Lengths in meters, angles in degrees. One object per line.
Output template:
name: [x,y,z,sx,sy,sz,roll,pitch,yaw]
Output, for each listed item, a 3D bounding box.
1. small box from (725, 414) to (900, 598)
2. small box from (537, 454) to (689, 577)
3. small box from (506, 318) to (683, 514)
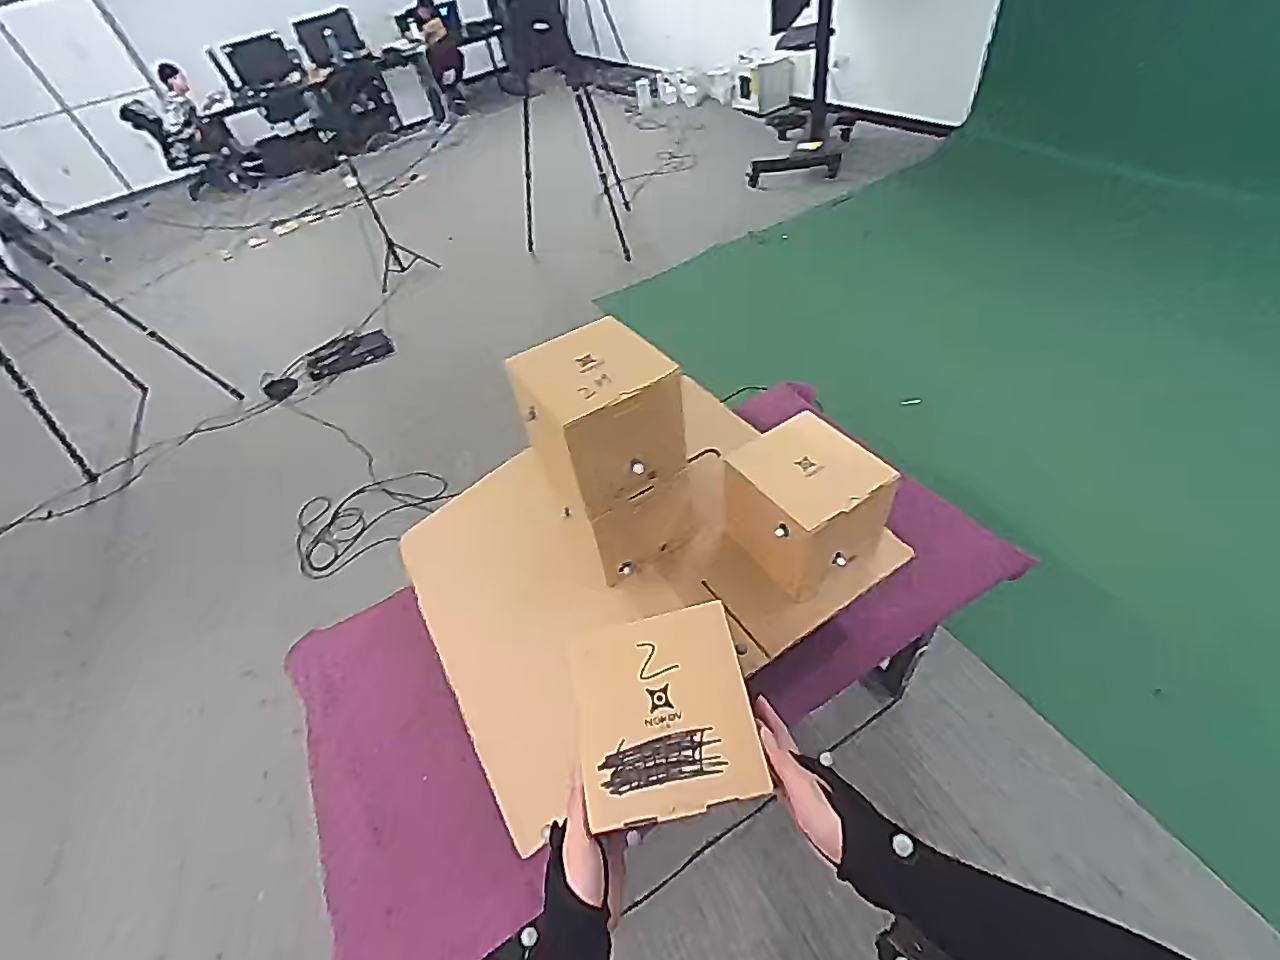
small box: [0.239,0.038,0.797,0.168,0.176,0.179,-28,50,-18]
small box: [-0.036,0.027,0.849,0.168,0.176,0.179,-28,48,-18]
small box: [-0.056,-0.087,0.732,0.168,0.176,0.179,-28,50,-18]
